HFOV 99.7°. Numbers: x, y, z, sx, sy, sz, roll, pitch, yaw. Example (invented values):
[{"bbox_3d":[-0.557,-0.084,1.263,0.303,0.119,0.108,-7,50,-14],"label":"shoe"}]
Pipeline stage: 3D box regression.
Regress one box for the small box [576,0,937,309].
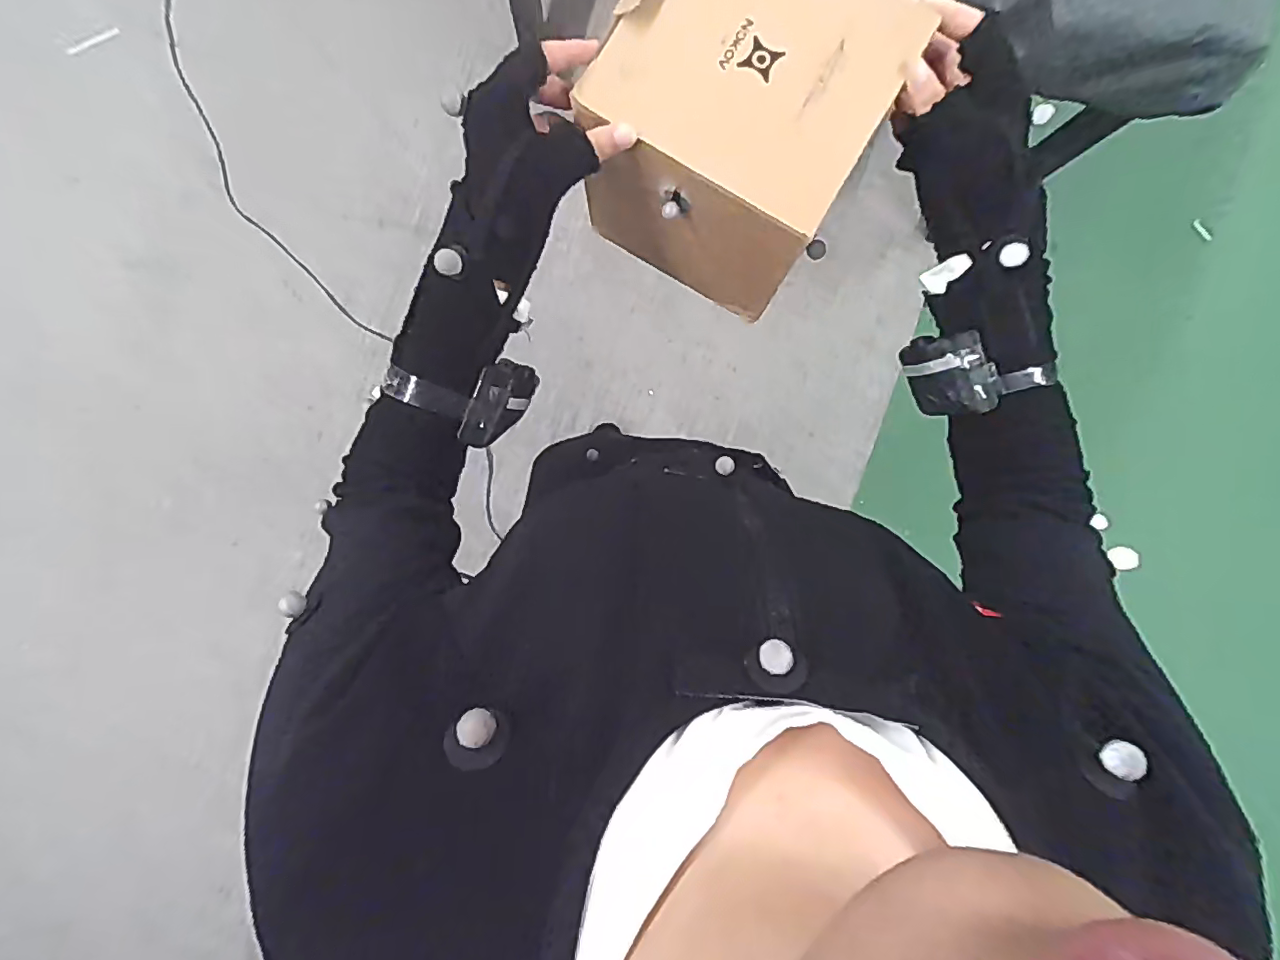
[{"bbox_3d":[0.072,-0.260,0.418,0.179,0.176,0.168,30,89,0],"label":"small box"}]
